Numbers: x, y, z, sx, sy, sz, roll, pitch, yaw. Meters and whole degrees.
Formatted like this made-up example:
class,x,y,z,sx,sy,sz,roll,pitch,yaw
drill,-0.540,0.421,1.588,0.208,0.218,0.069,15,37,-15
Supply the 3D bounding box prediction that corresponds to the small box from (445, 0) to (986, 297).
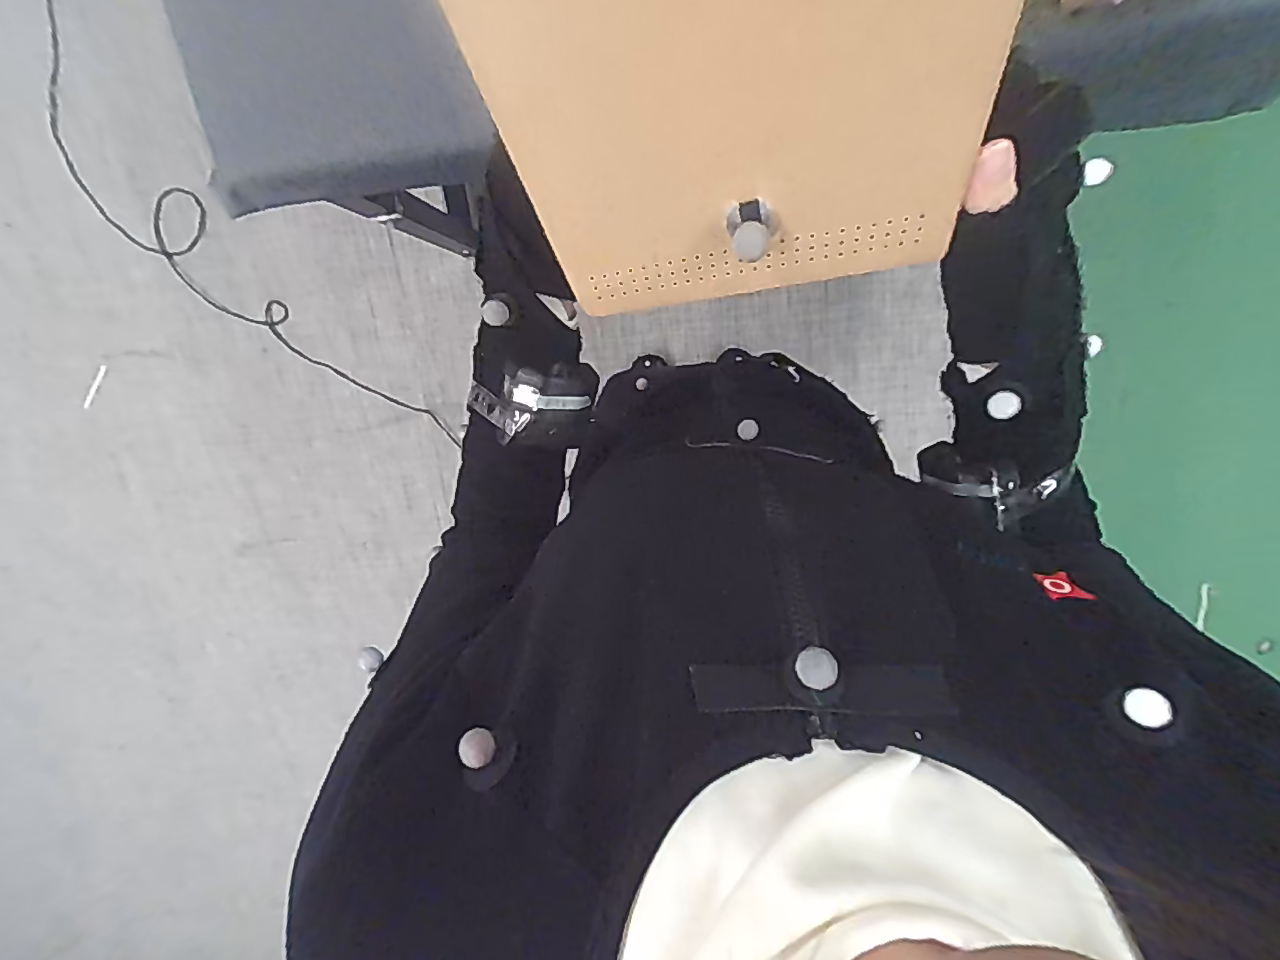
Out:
class,x,y,z,sx,sy,sz,roll,pitch,yaw
small box,0.034,-0.208,0.237,0.179,0.176,0.168,-5,62,12
